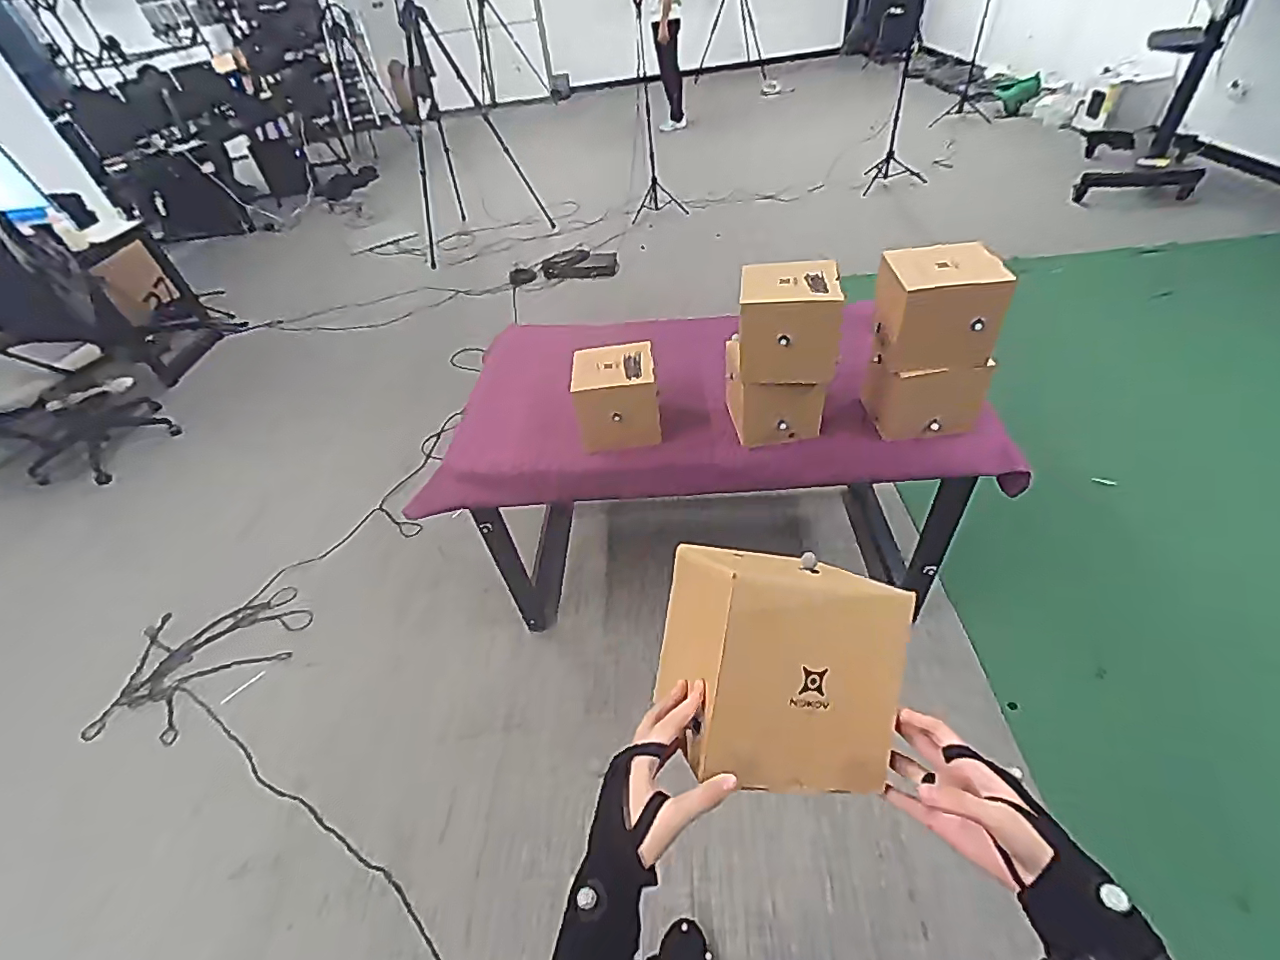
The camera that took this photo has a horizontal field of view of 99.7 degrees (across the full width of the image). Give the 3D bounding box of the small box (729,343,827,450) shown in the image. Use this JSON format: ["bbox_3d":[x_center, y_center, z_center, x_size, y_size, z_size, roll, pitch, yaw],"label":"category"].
[{"bbox_3d":[0.286,-0.188,1.159,0.168,0.176,0.179,-9,43,2],"label":"small box"}]

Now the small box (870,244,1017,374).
[{"bbox_3d":[0.548,-0.314,1.004,0.179,0.176,0.168,-3,44,8],"label":"small box"}]

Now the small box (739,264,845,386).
[{"bbox_3d":[0.281,-0.291,1.028,0.179,0.176,0.168,1,44,13],"label":"small box"}]

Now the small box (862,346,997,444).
[{"bbox_3d":[0.580,-0.193,1.110,0.179,0.176,0.168,-7,43,4],"label":"small box"}]
